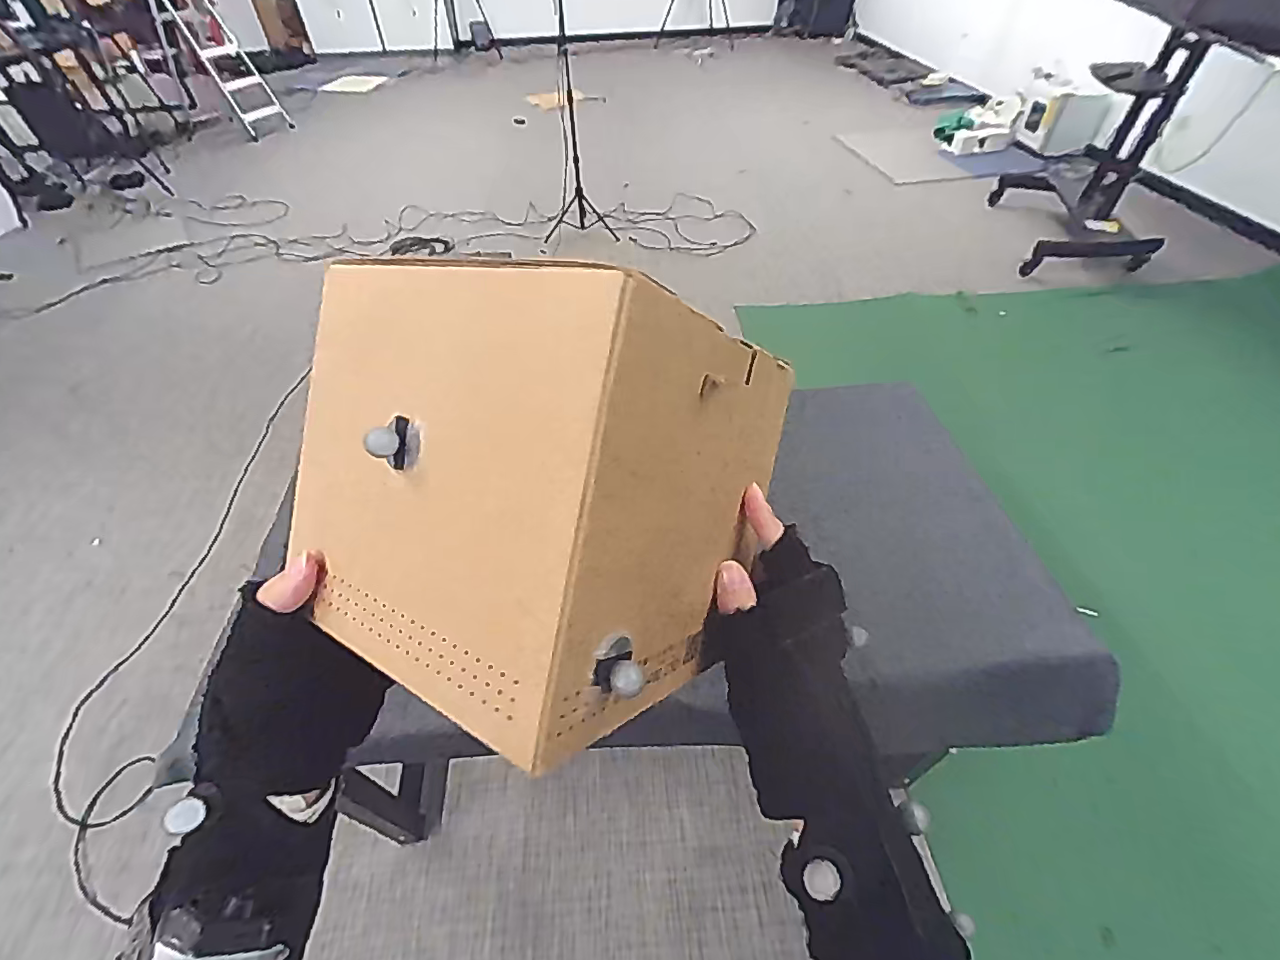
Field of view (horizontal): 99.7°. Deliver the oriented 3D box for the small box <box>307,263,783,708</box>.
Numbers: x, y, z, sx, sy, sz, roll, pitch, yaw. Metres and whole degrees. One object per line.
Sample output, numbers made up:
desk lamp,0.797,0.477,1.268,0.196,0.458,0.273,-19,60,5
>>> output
small box,-0.047,-0.002,0.293,0.179,0.176,0.168,15,6,31
